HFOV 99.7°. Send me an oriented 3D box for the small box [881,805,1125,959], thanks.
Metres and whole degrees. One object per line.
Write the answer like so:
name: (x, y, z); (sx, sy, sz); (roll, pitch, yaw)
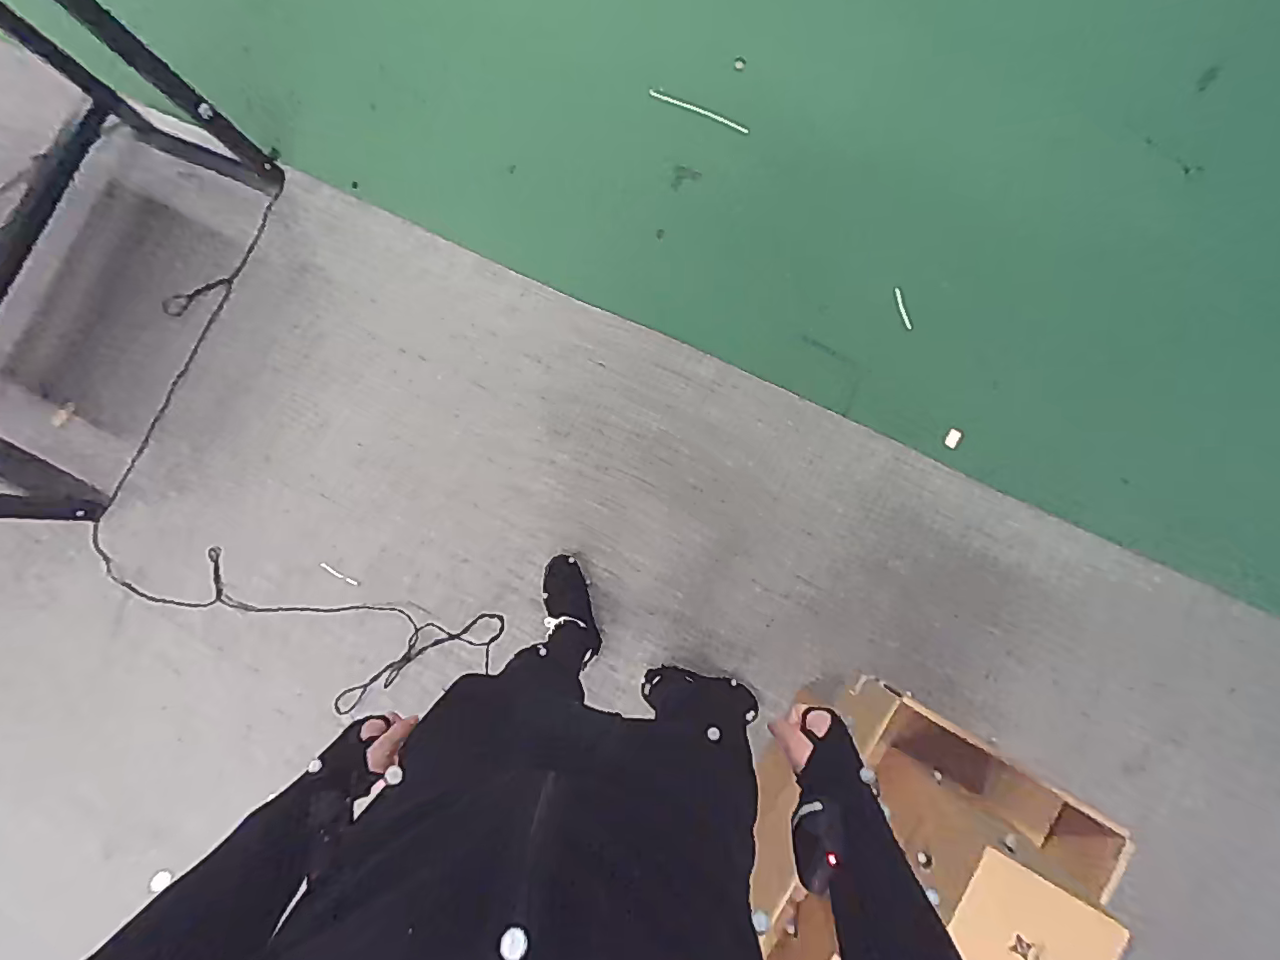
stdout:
small box: (0.448, 0.564, 0.703); (0.179, 0.176, 0.168); (30, 87, 9)
